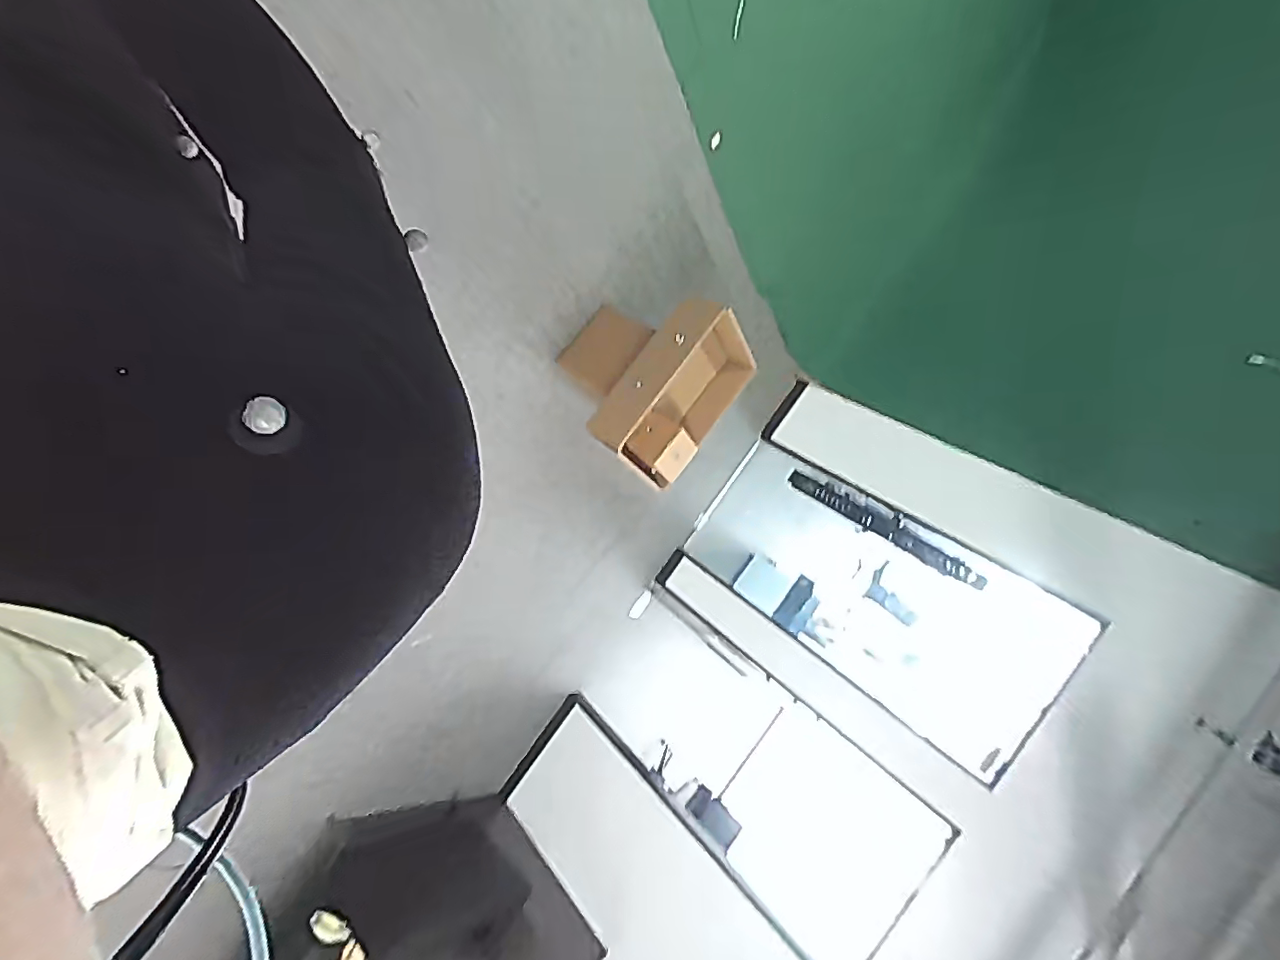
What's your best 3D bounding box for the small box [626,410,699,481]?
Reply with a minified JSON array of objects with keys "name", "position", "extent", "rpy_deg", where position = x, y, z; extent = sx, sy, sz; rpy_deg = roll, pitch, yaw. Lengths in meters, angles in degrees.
[{"name":"small box","position":[0.083,-0.132,2.005],"extent":[0.168,0.176,0.179],"rpy_deg":[-52,145,-3]}]
